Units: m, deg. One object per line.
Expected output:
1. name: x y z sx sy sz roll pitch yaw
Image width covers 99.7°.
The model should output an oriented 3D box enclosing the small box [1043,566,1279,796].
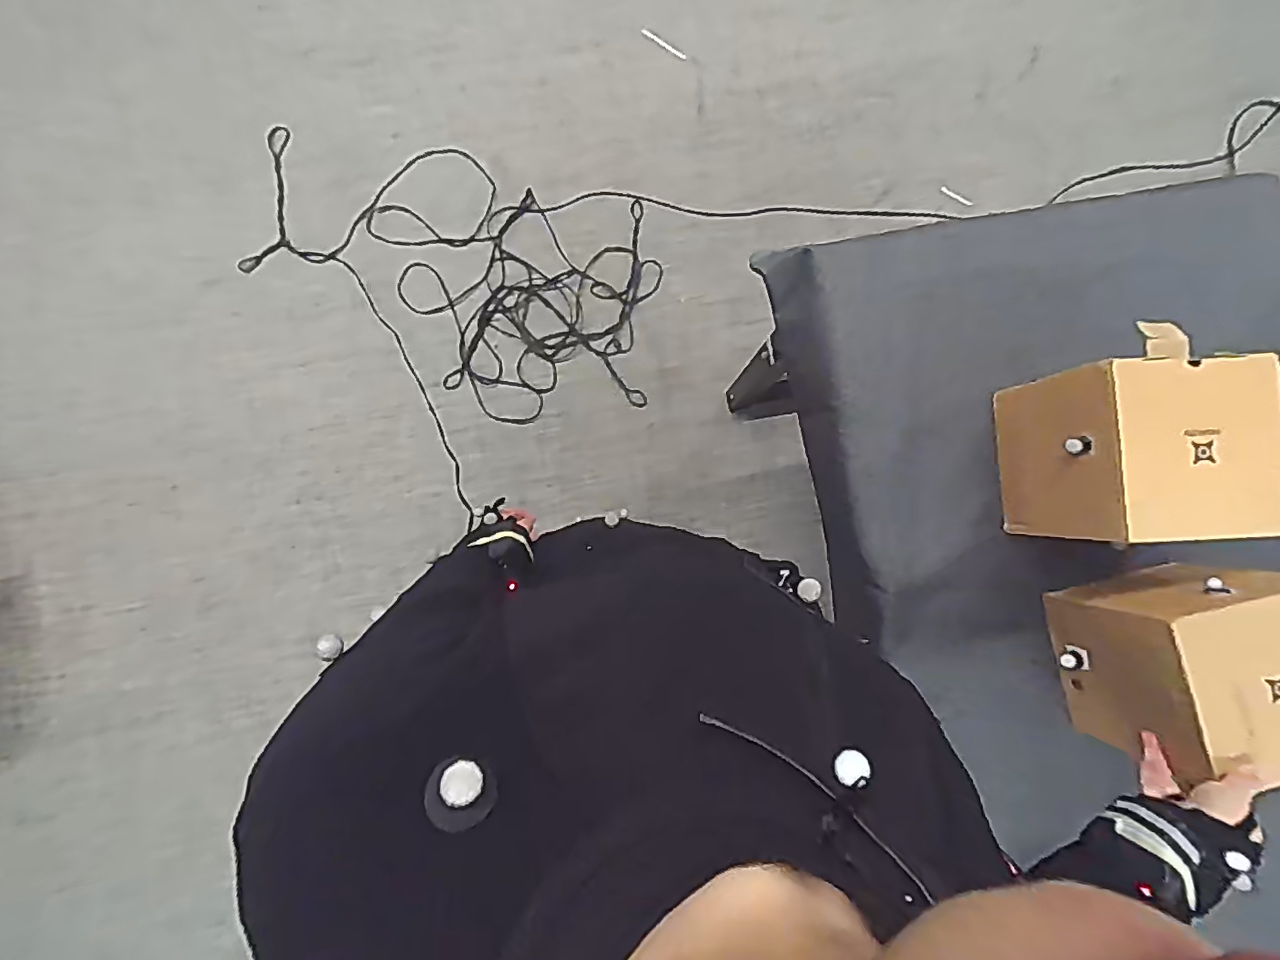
1. small box: 0.590 0.193 0.575 0.179 0.176 0.168 -14 85 -2

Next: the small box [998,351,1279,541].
1. small box: 0.527 -0.029 0.587 0.168 0.176 0.179 -3 86 -2
